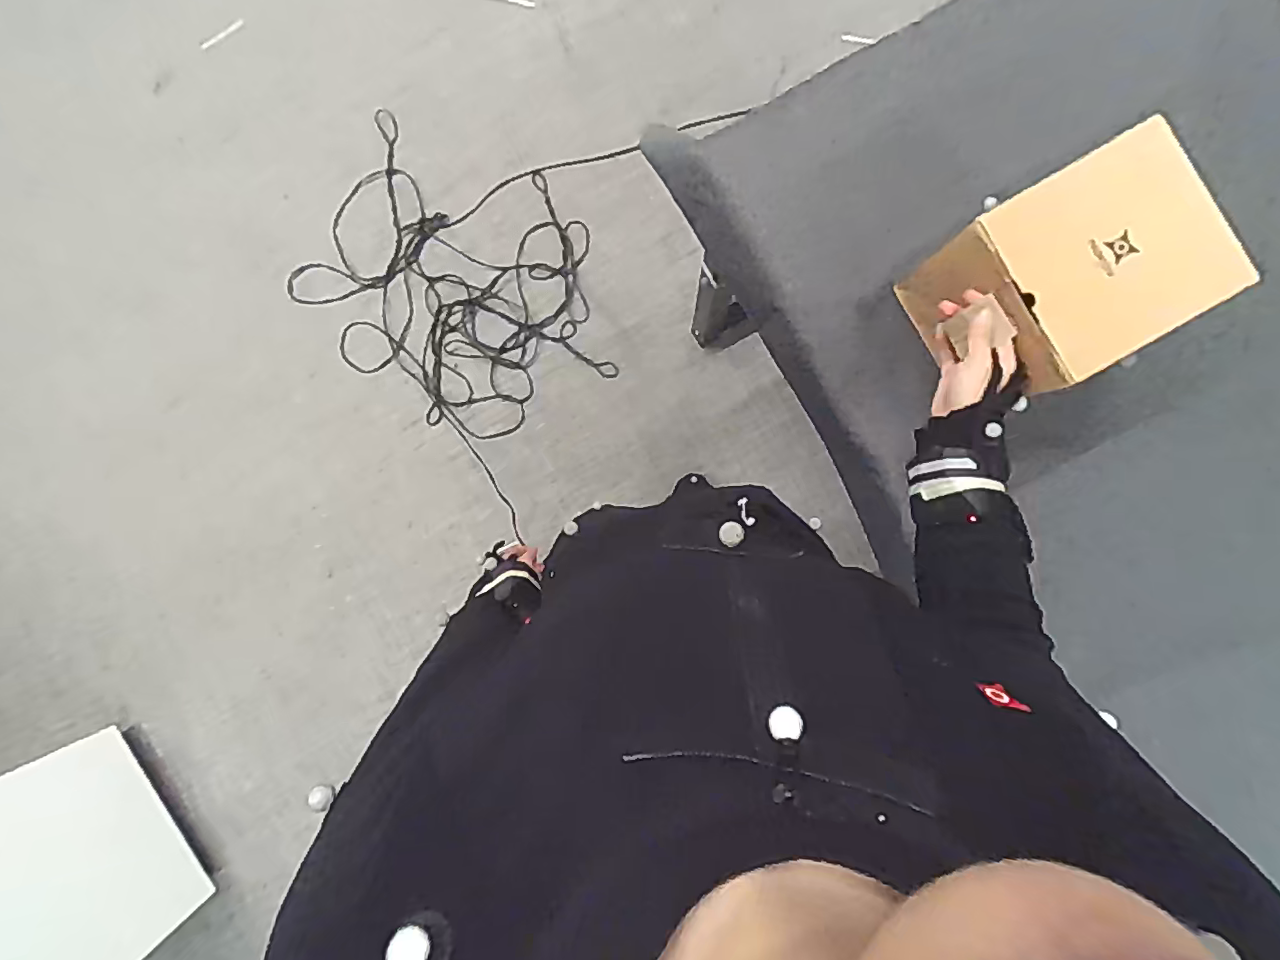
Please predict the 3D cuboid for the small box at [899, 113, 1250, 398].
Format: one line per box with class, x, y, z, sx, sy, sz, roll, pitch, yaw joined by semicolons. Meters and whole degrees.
small box;0.401;-0.199;0.535;0.179;0.176;0.168;-31;90;3
